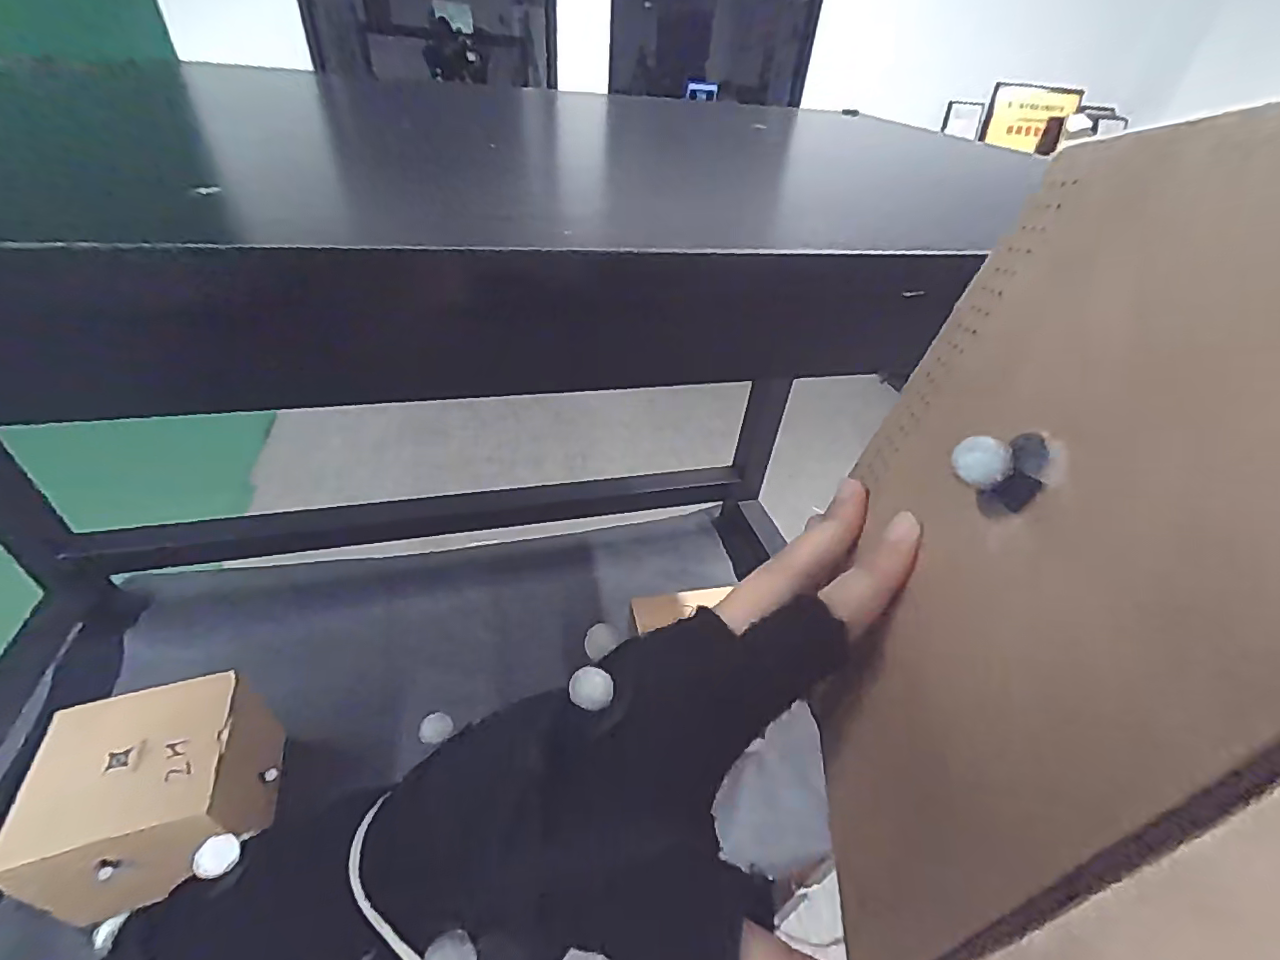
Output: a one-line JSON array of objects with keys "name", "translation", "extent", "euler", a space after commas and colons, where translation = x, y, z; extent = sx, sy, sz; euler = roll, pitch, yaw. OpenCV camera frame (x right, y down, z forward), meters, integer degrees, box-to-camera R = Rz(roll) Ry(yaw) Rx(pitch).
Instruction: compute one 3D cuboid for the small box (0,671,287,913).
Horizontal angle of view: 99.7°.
[{"name": "small box", "translation": [-0.541, 0.356, 0.623], "extent": [0.179, 0.176, 0.168], "euler": [-9, 41, -18]}]
